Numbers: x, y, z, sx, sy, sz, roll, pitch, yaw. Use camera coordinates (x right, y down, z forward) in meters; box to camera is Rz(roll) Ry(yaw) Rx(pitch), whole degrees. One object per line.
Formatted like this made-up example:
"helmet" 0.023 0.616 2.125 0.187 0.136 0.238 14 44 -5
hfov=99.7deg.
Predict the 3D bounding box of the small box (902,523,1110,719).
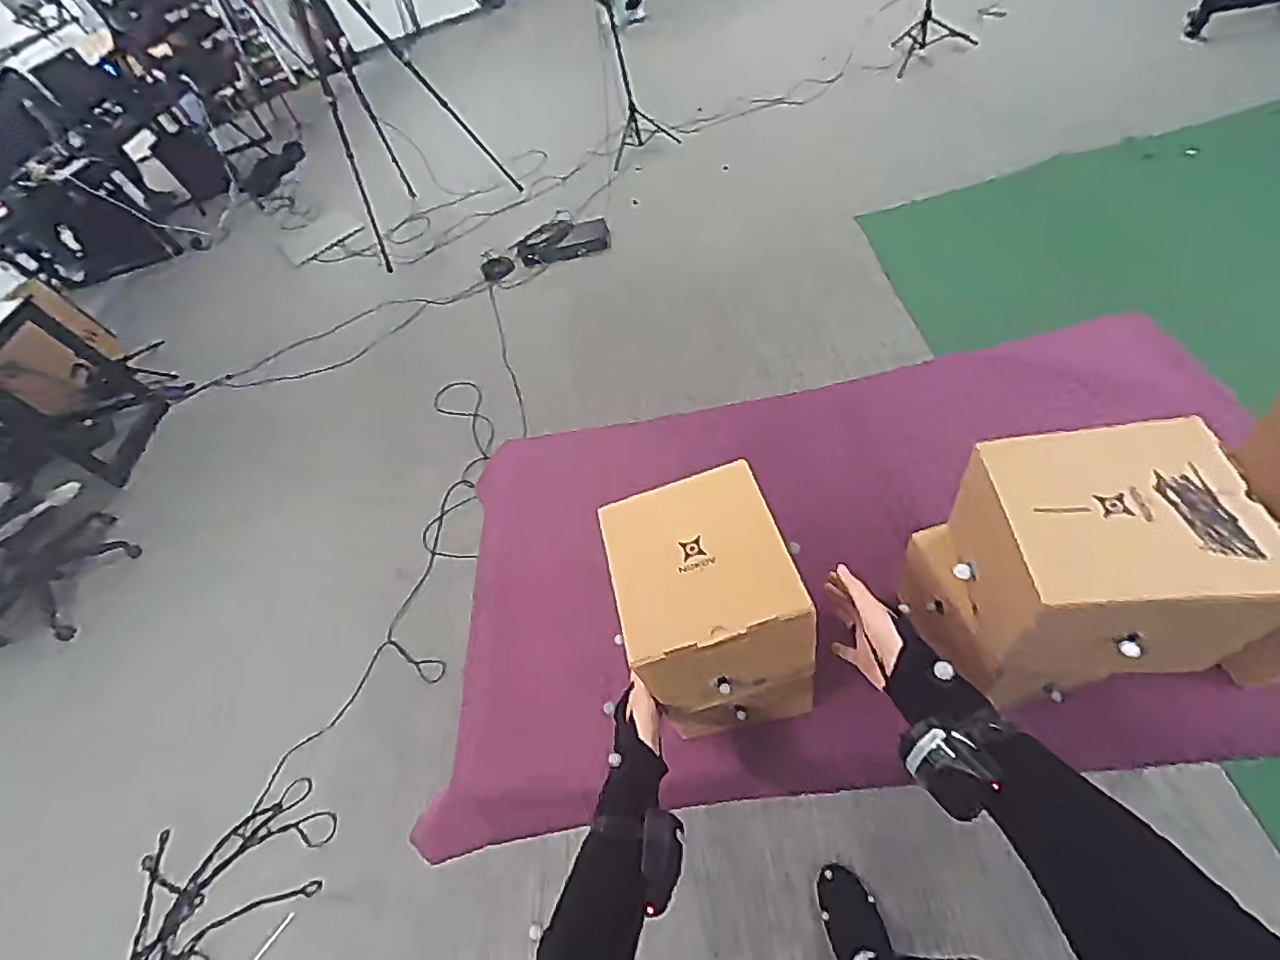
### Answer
"small box" 0.432 0.155 0.637 0.168 0.176 0.179 -18 50 5

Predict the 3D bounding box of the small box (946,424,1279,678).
"small box" 0.408 0.073 0.494 0.179 0.176 0.168 -6 52 15
